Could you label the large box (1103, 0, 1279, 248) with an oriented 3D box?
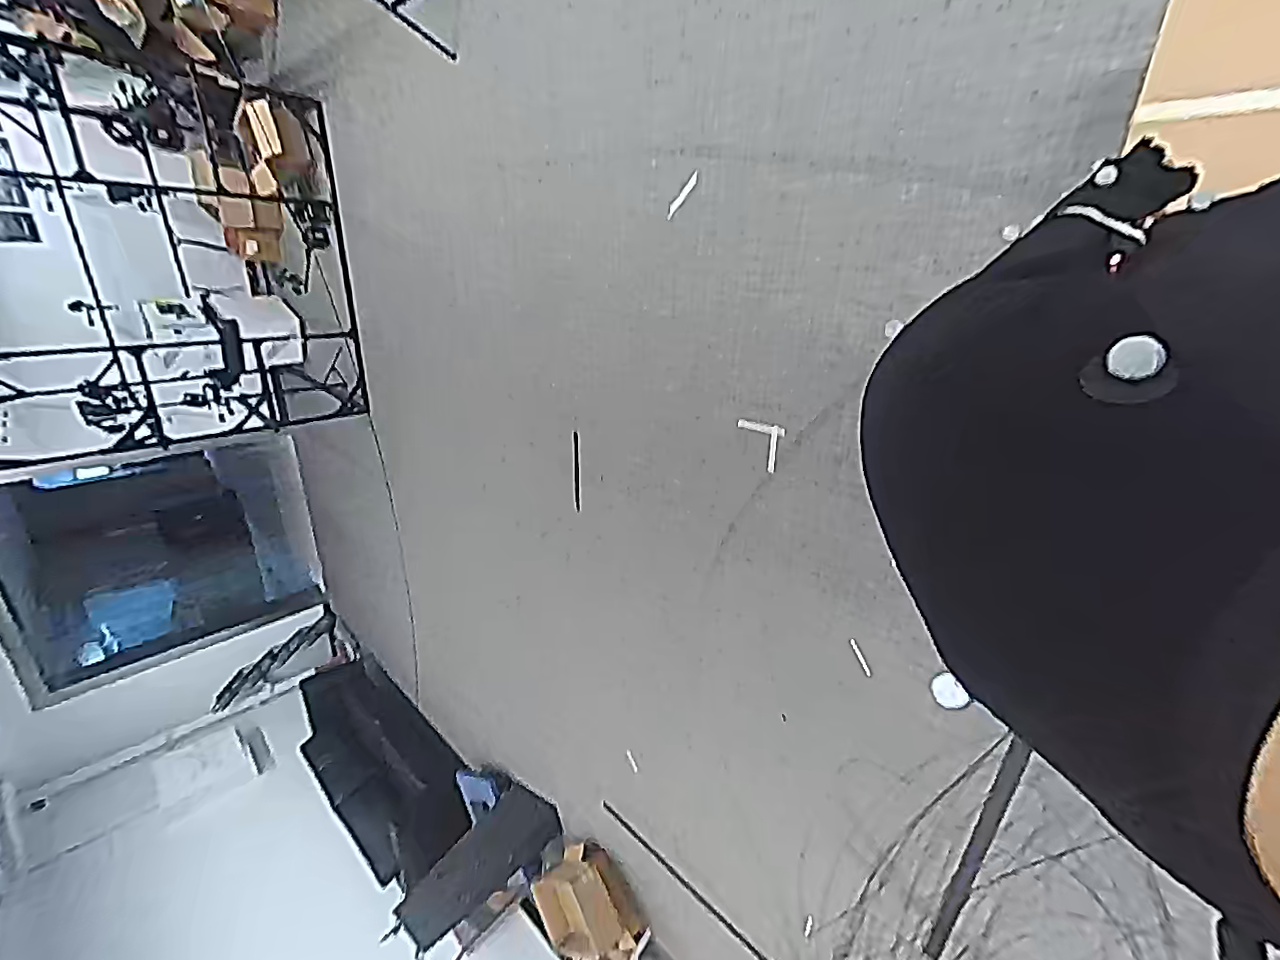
[{"bbox_3d":[0.999,-0.526,0.803,0.408,0.320,0.320,21,118,40],"label":"large box"}]
